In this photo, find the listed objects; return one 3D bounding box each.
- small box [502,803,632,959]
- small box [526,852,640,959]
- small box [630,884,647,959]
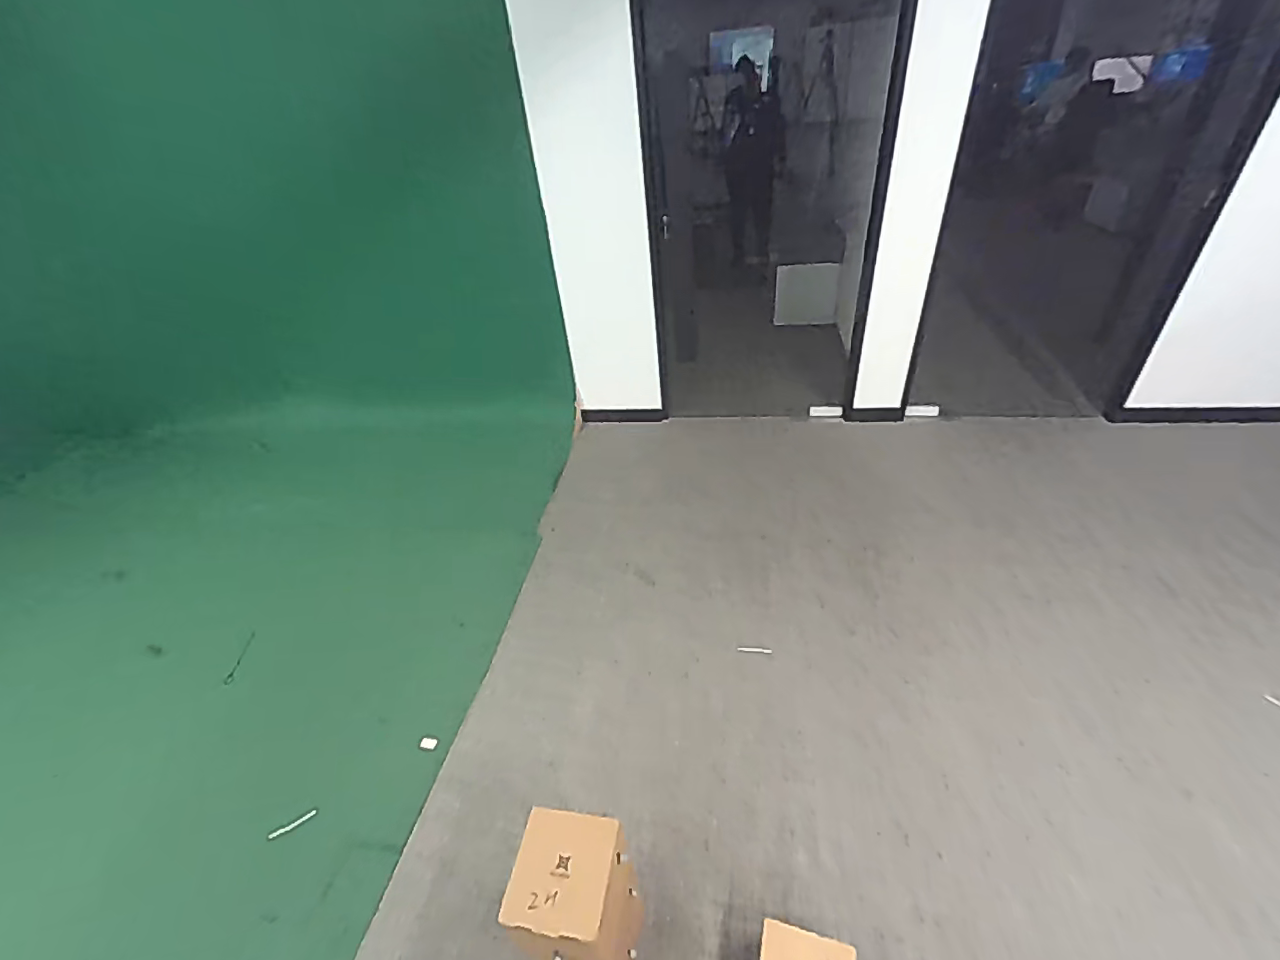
[{"bbox_3d":[-0.115,0.706,0.946,0.168,0.176,0.179,1,37,13],"label":"small box"},{"bbox_3d":[-0.099,0.835,1.048,0.168,0.176,0.179,1,39,13],"label":"small box"},{"bbox_3d":[-0.085,0.963,1.147,0.168,0.176,0.179,4,39,15],"label":"small box"}]
